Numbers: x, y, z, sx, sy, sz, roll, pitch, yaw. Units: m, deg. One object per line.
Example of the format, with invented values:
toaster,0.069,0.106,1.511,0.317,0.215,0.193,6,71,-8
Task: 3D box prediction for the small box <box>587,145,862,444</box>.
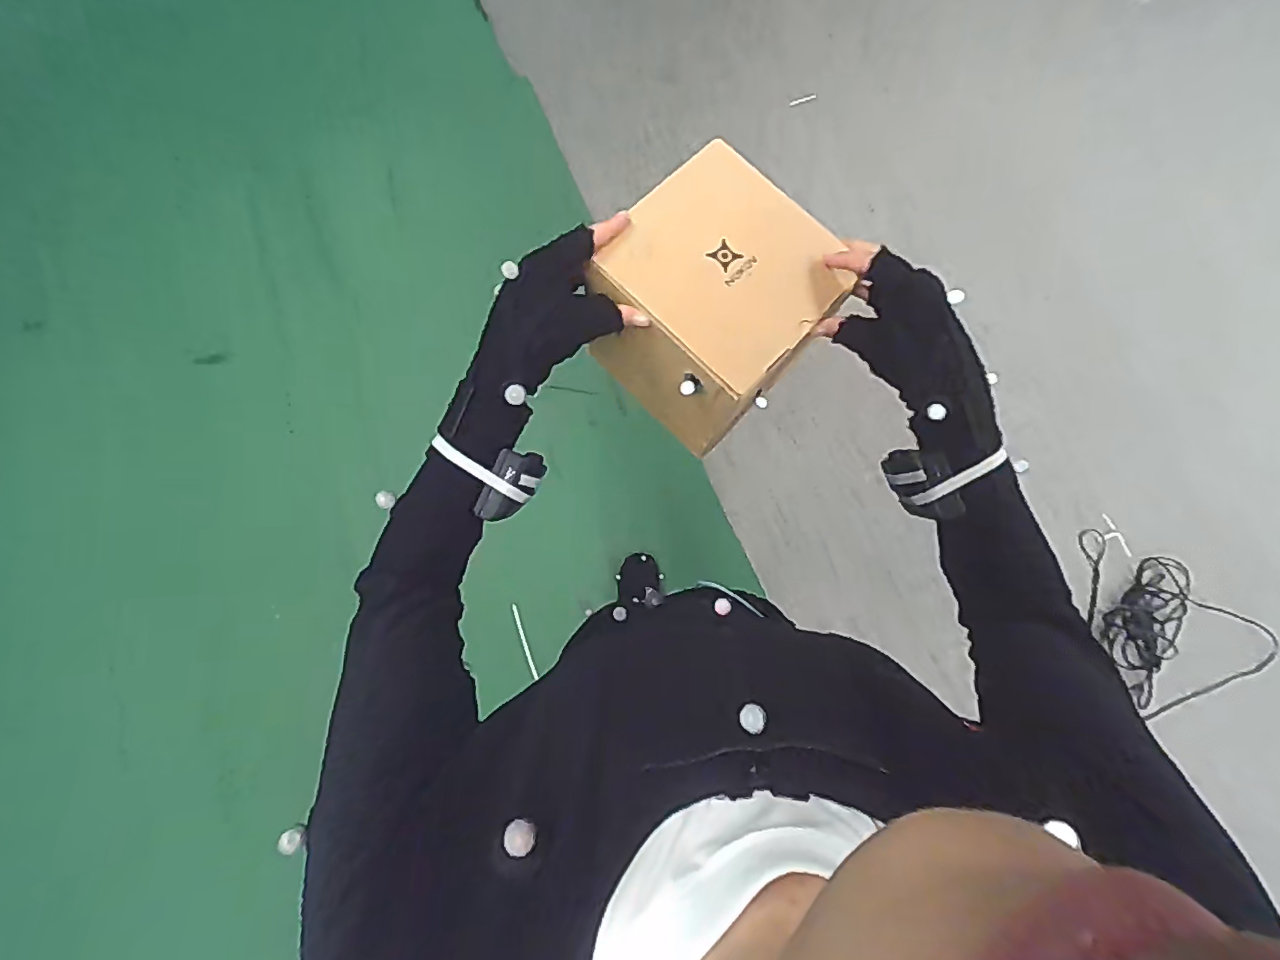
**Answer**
small box,0.063,-0.162,0.522,0.179,0.176,0.168,45,77,6
